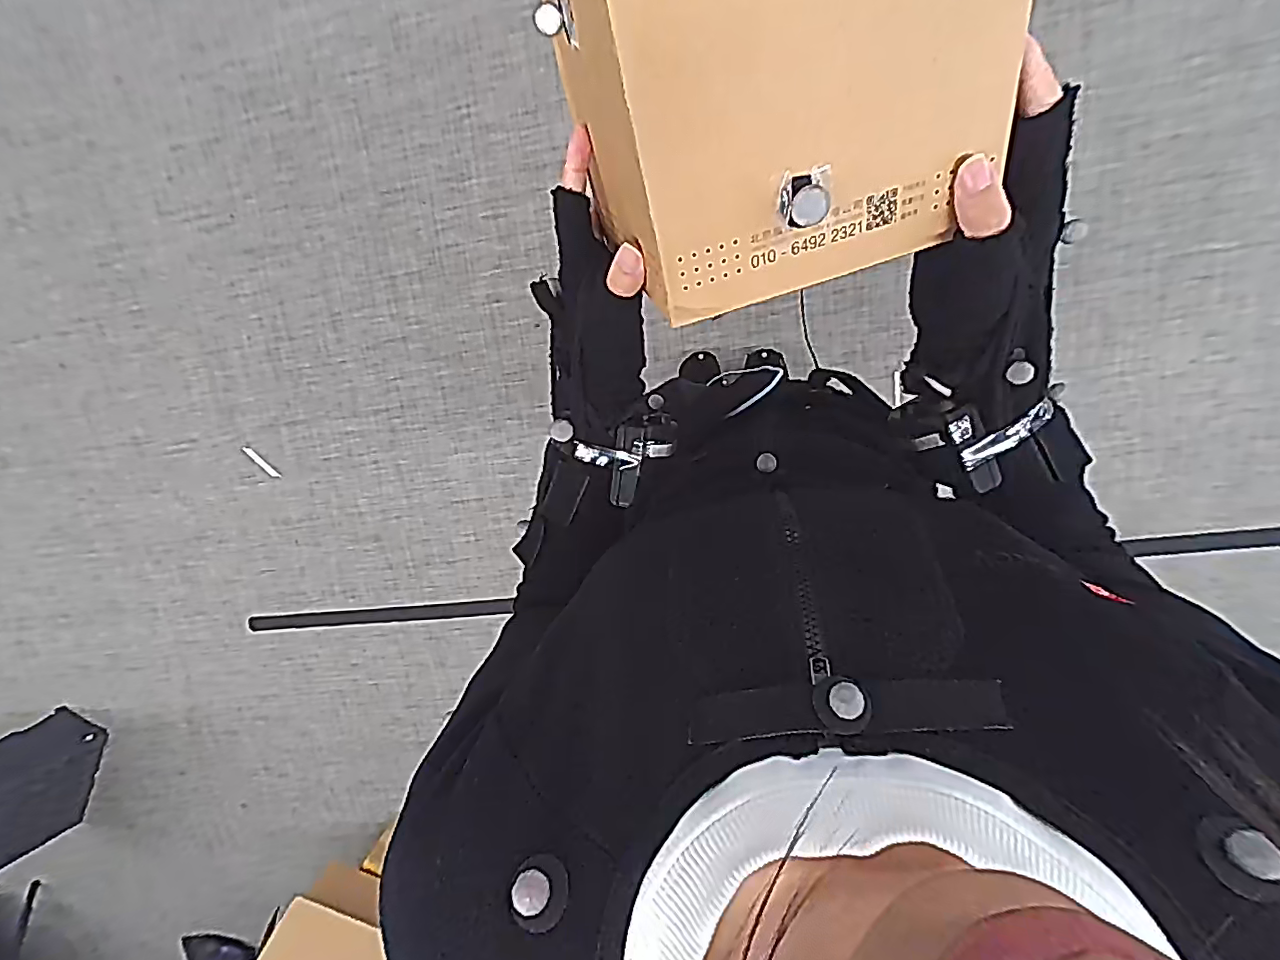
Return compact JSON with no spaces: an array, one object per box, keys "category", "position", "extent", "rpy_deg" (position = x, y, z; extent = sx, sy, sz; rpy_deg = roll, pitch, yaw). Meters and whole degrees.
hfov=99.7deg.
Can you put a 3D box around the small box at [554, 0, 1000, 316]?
[{"category":"small box","position":[0.056,-0.210,0.290],"extent":[0.168,0.179,0.176],"rpy_deg":[-19,128,-1]}]
